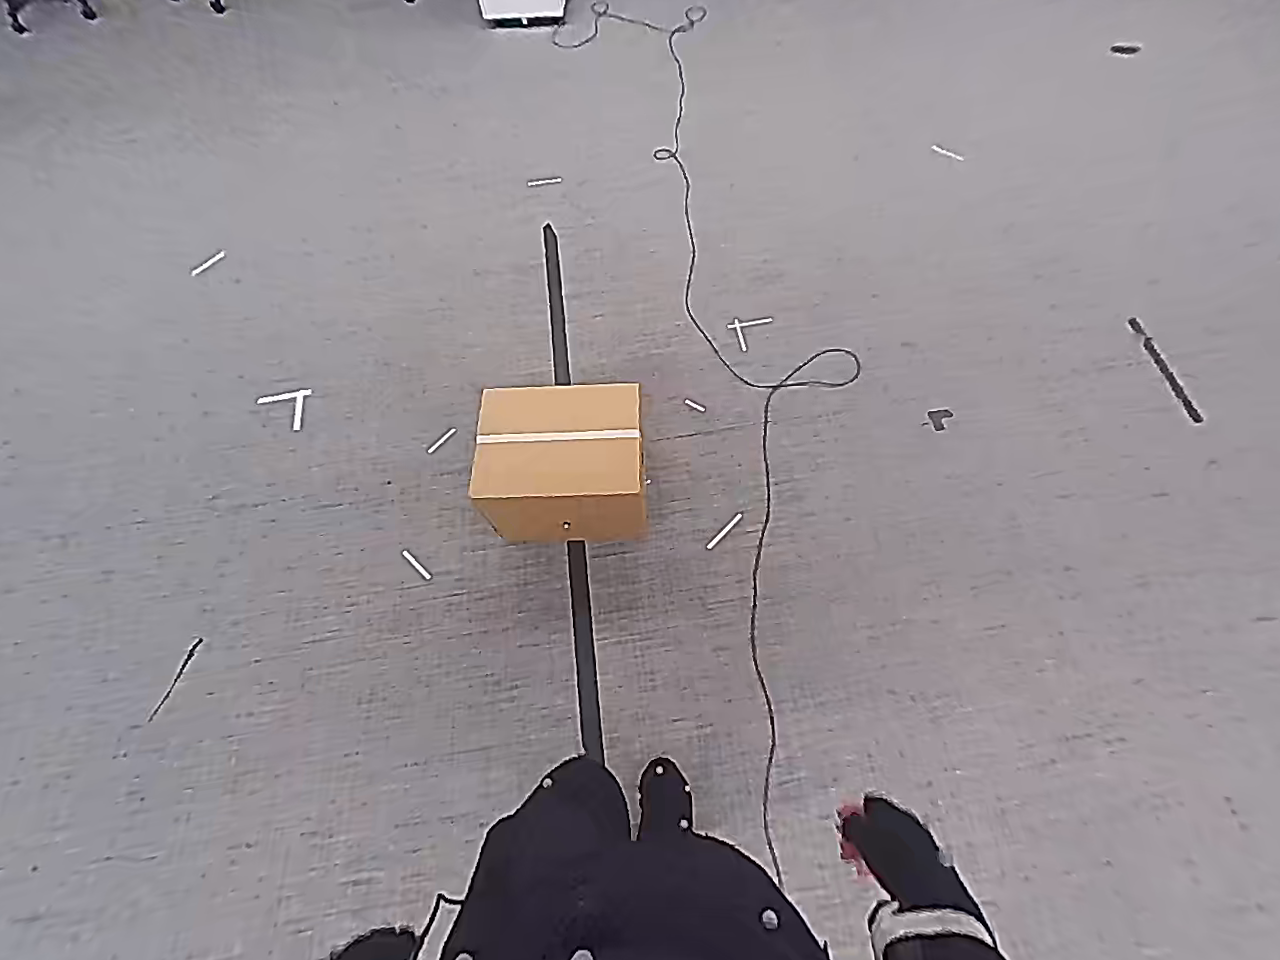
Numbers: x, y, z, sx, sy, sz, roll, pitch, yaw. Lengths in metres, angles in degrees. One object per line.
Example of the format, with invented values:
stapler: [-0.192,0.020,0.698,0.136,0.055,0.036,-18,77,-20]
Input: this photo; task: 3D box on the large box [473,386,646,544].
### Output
large box: [-0.190,-0.028,1.446,0.408,0.320,0.320,-2,65,2]
